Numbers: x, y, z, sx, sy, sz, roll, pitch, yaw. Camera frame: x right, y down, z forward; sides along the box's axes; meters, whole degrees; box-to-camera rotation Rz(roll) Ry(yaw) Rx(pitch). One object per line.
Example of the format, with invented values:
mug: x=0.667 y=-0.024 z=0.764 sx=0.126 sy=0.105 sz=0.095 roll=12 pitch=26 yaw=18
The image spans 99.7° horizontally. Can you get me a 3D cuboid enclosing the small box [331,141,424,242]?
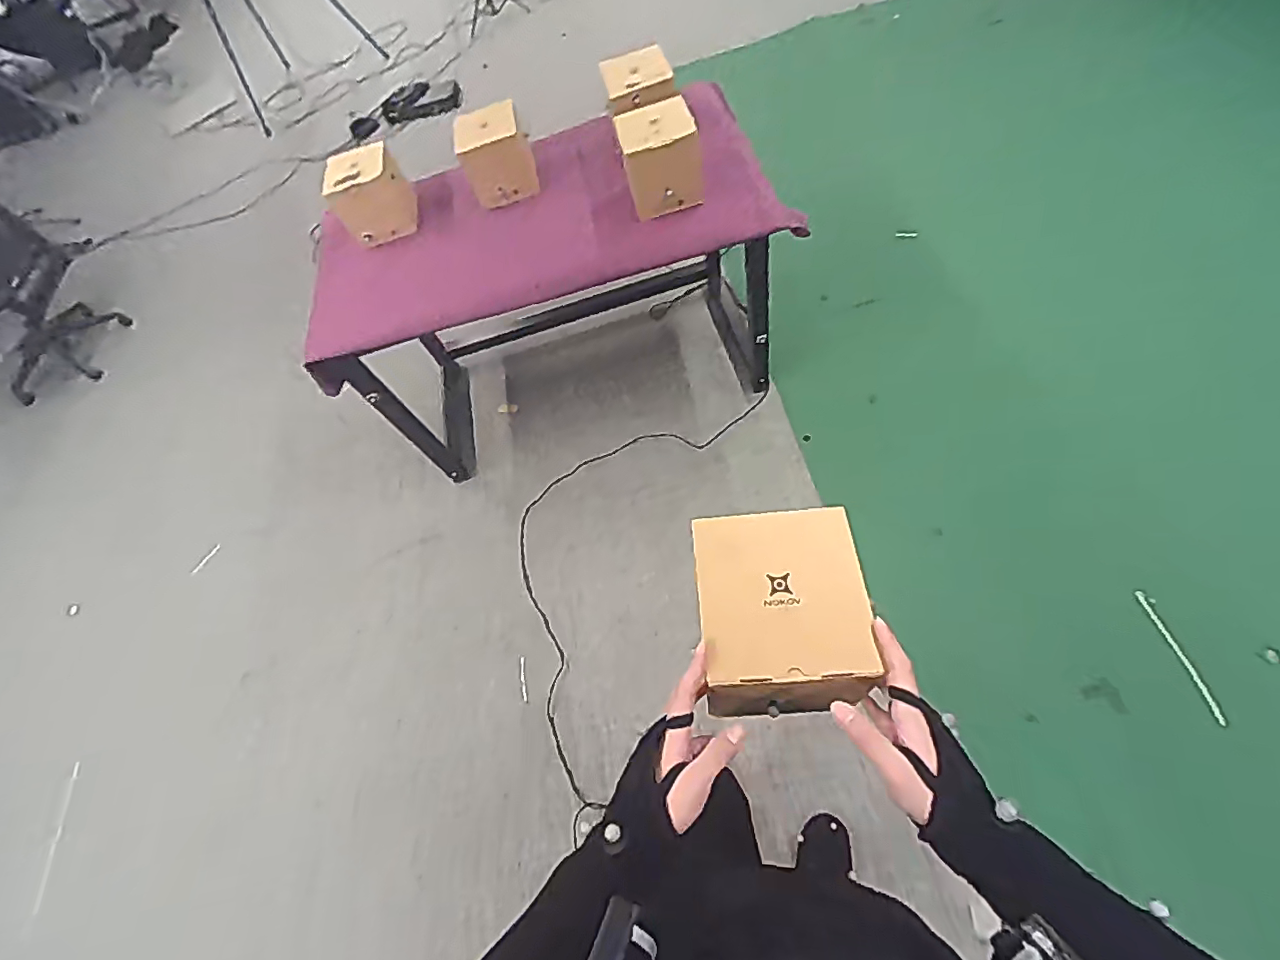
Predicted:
small box: x=-0.712 y=-0.782 z=1.485 sx=0.168 sy=0.176 sz=0.179 roll=-15 pitch=59 yaw=4

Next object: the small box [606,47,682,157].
small box: x=0.019 y=-0.984 z=1.424 sx=0.168 sy=0.176 sz=0.179 roll=-16 pitch=60 yaw=5

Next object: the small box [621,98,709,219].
small box: x=0.061 y=-0.762 z=1.291 sx=0.168 sy=0.176 sz=0.179 roll=-14 pitch=59 yaw=7

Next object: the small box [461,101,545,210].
small box: x=-0.366 y=-0.869 z=1.455 sx=0.168 sy=0.176 sz=0.179 roll=-15 pitch=60 yaw=6
